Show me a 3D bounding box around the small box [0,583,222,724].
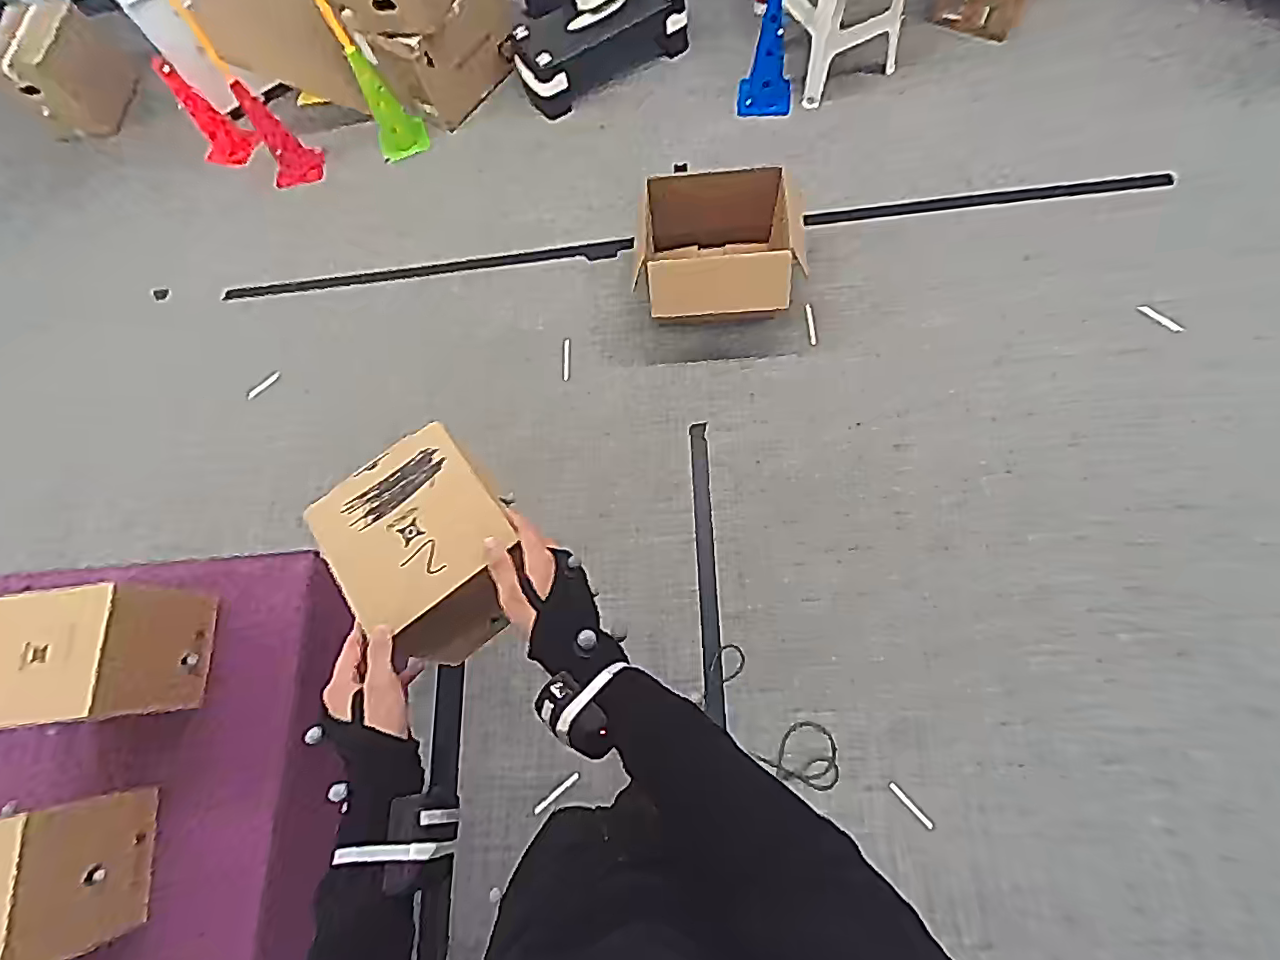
[{"bbox_3d":[-0.751,0.247,0.765,0.179,0.176,0.168,-8,71,4],"label":"small box"}]

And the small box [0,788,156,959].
[{"bbox_3d":[-0.763,0.504,0.675,0.179,0.176,0.168,-13,69,2],"label":"small box"}]
